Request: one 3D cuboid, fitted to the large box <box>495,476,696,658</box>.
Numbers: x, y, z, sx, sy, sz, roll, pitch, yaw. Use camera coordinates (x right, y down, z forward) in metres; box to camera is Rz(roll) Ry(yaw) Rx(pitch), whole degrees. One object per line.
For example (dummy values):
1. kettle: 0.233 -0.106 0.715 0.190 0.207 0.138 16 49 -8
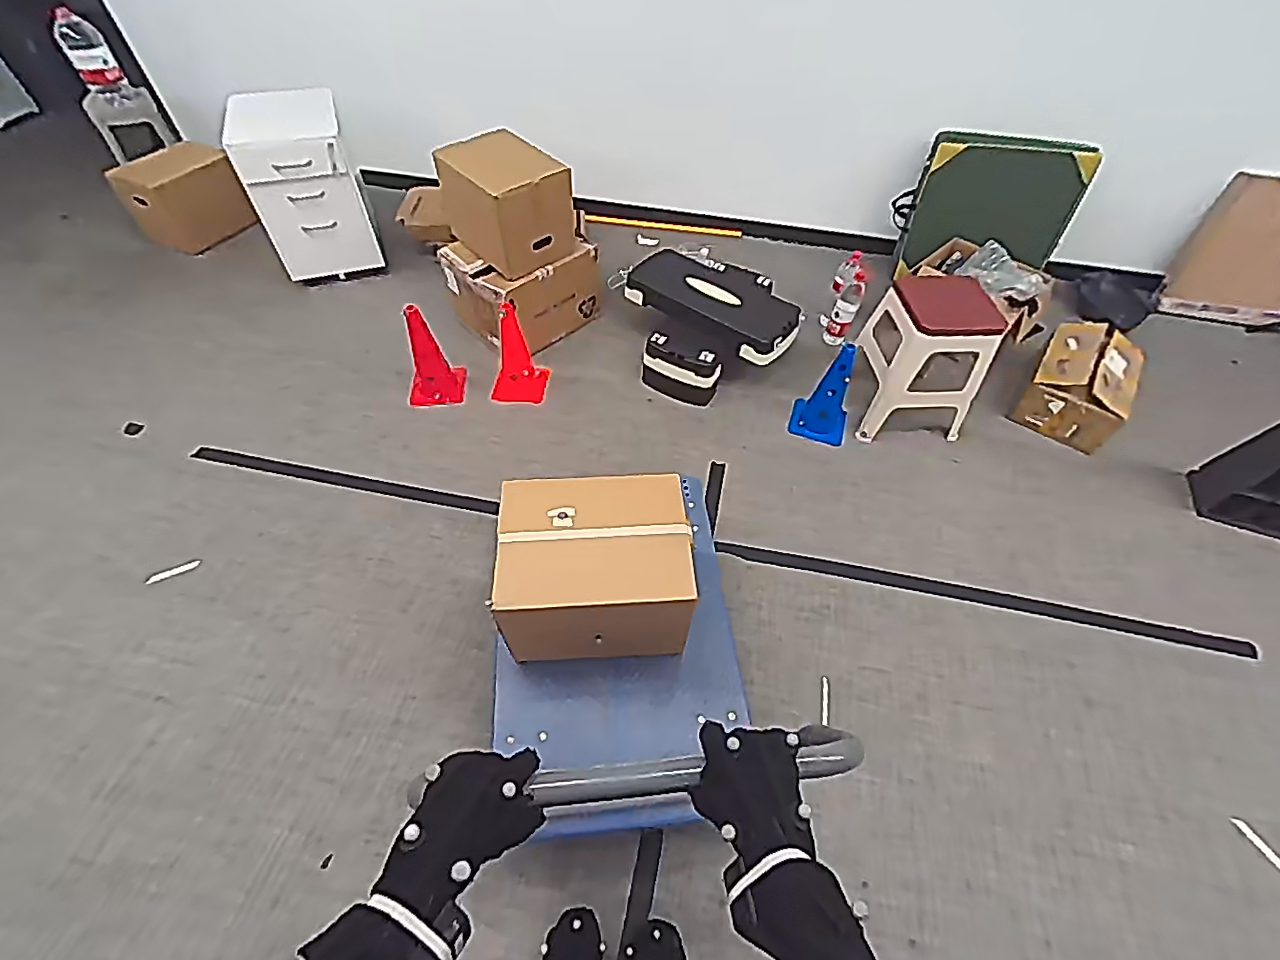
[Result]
1. large box: -0.098 0.211 1.267 0.408 0.320 0.320 -2 53 -3
